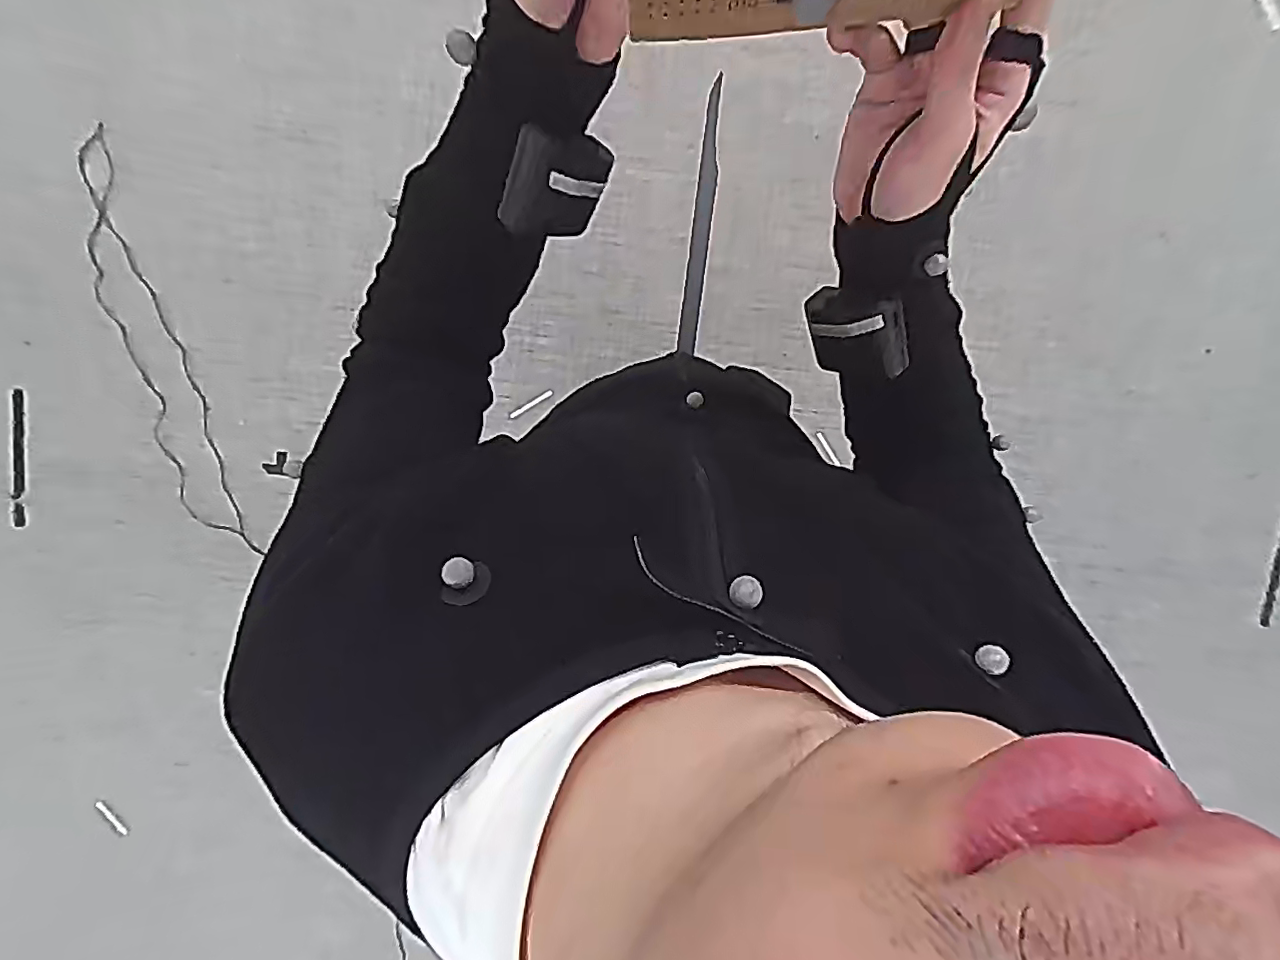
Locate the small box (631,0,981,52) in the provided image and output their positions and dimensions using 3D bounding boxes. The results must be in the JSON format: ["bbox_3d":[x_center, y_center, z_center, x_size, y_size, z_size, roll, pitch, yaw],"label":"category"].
[{"bbox_3d":[0.065,-0.280,0.157,0.168,0.176,0.179,-5,96,4],"label":"small box"}]
